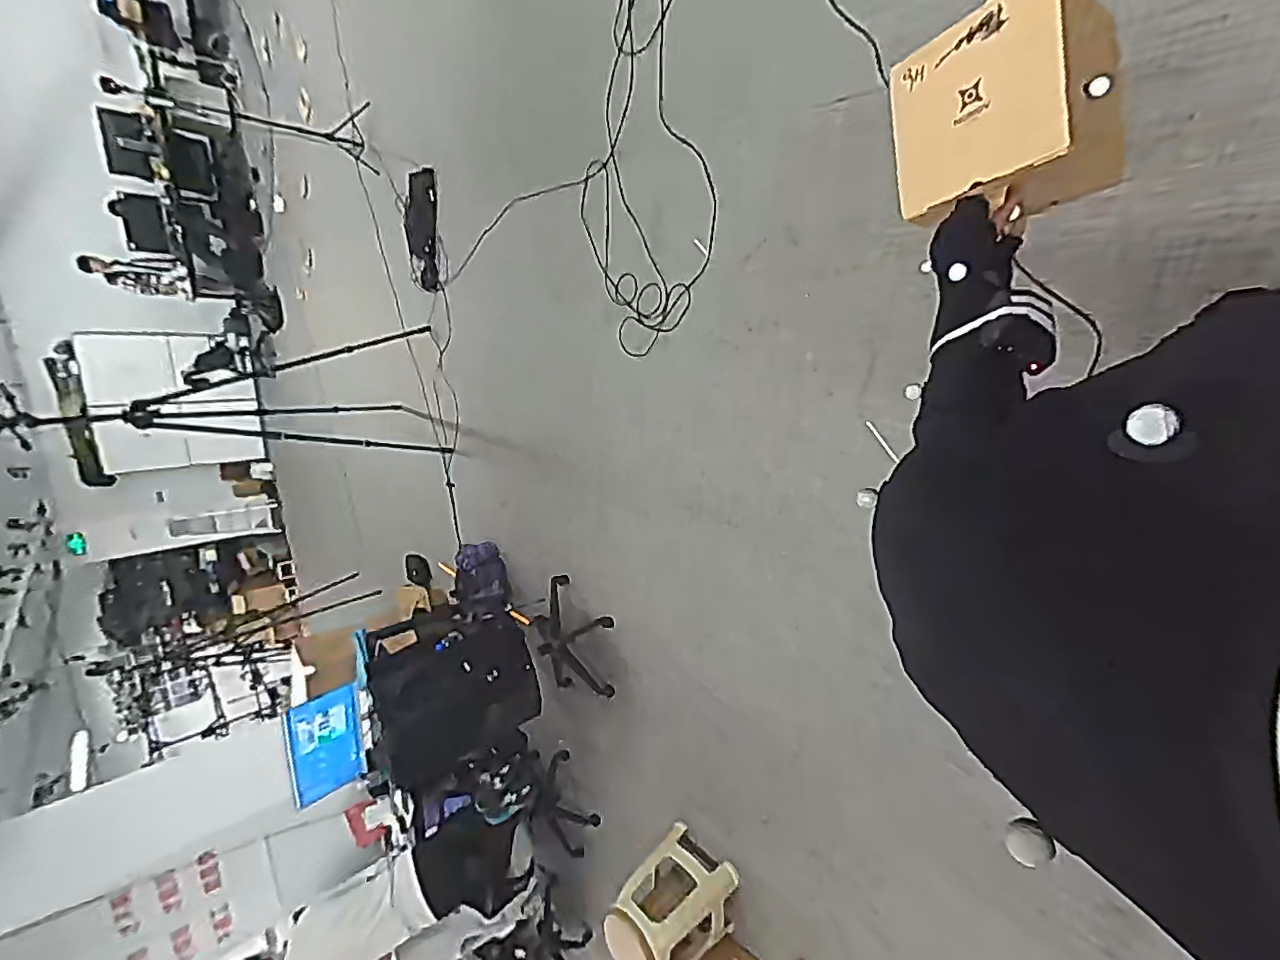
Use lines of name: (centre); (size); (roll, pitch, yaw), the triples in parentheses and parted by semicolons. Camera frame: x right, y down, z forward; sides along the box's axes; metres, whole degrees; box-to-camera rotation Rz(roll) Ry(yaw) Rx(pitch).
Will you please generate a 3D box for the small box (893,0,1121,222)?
small box: (0.414, -0.410, 0.612); (0.168, 0.176, 0.179); (-1, 97, 54)
